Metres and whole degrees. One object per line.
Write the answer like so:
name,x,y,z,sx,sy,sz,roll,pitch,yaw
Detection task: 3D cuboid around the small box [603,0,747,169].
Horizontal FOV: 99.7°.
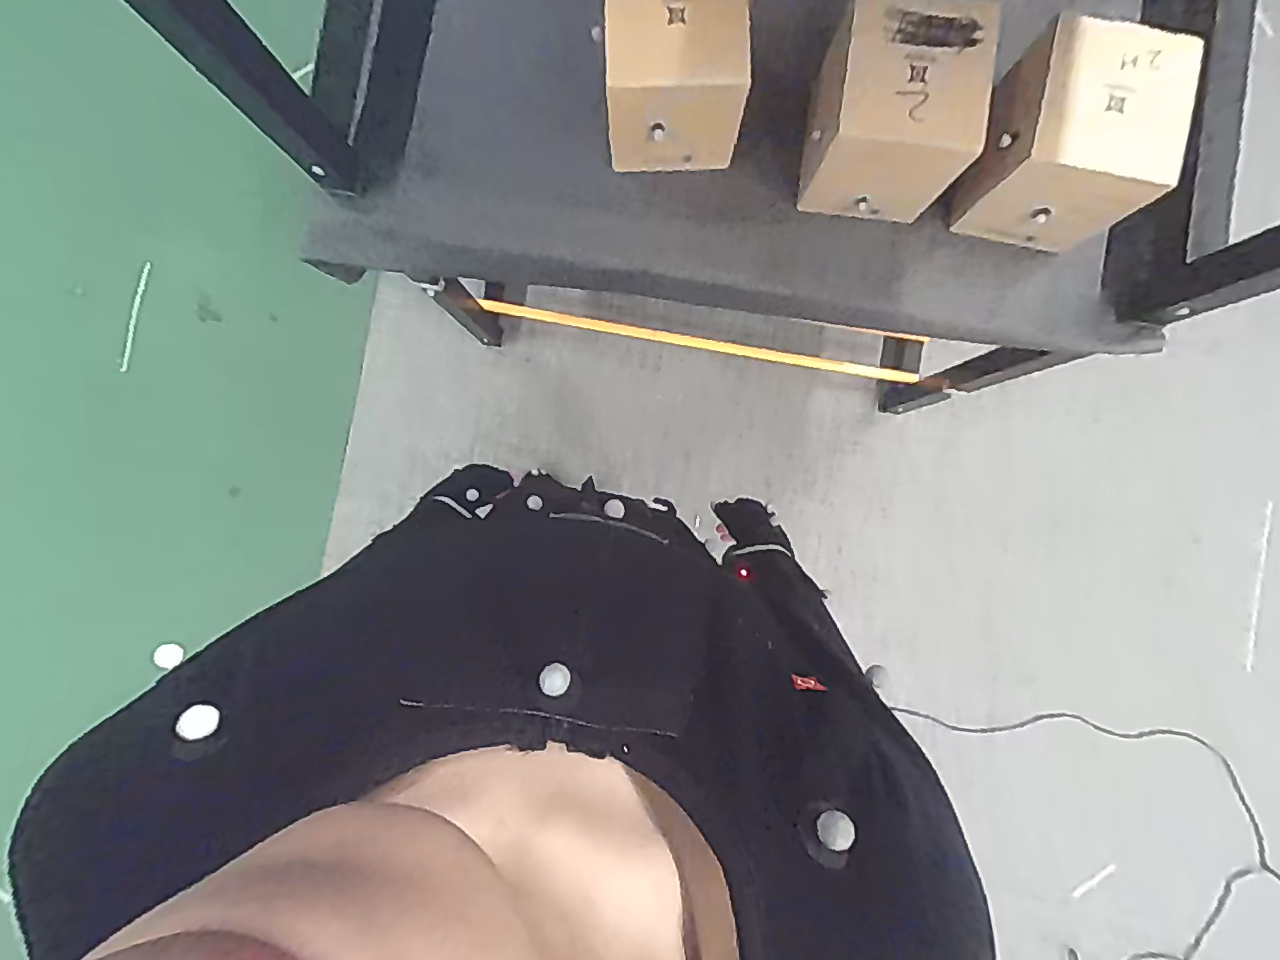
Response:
small box,0.042,-0.527,0.695,0.168,0.176,0.179,-1,88,0
